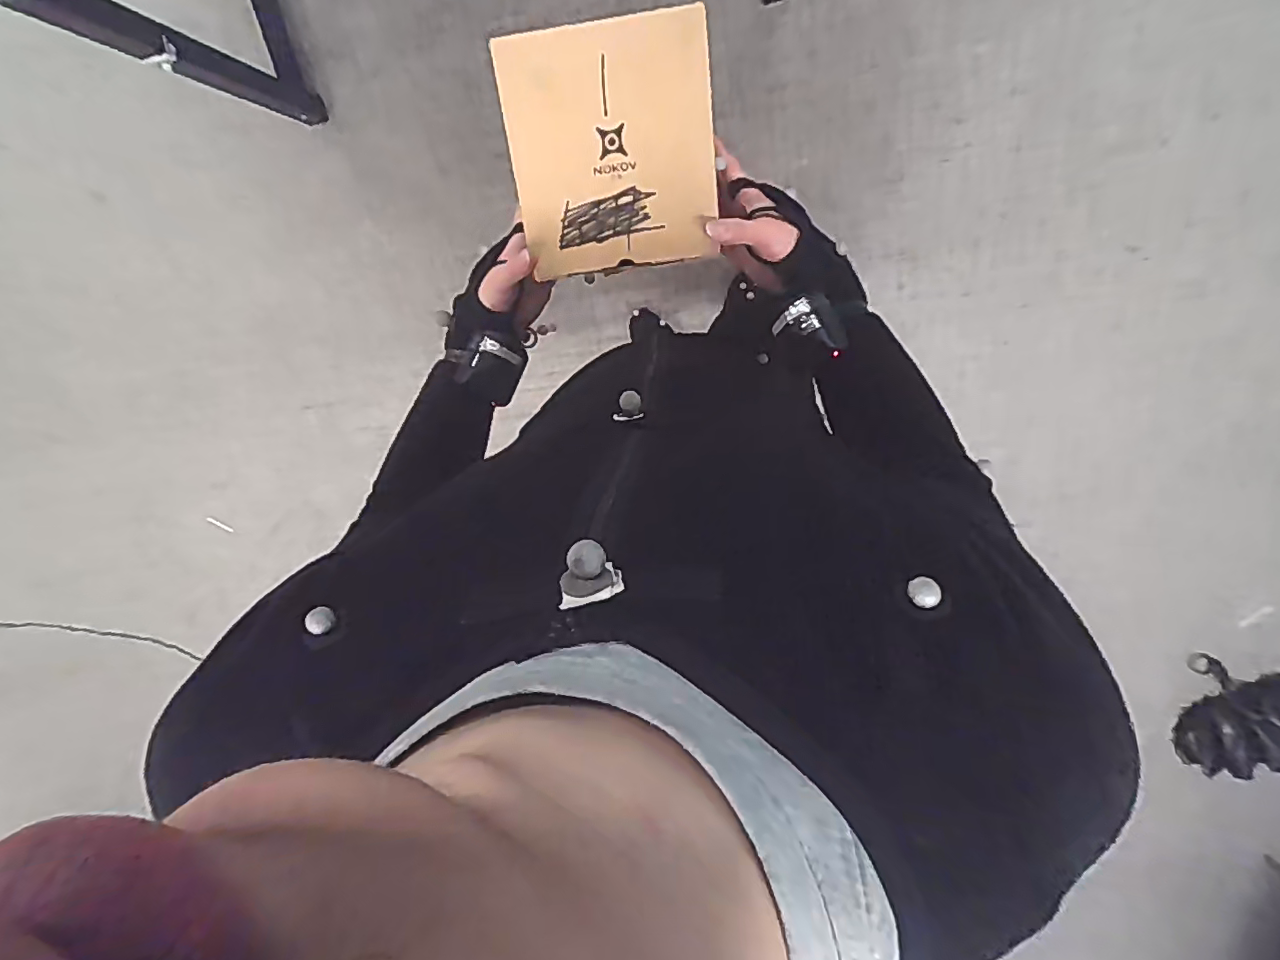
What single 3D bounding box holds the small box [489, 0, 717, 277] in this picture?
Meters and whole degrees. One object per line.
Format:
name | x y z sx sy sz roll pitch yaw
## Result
small box | -0.020 -0.296 0.503 0.168 0.176 0.179 -6 113 4
